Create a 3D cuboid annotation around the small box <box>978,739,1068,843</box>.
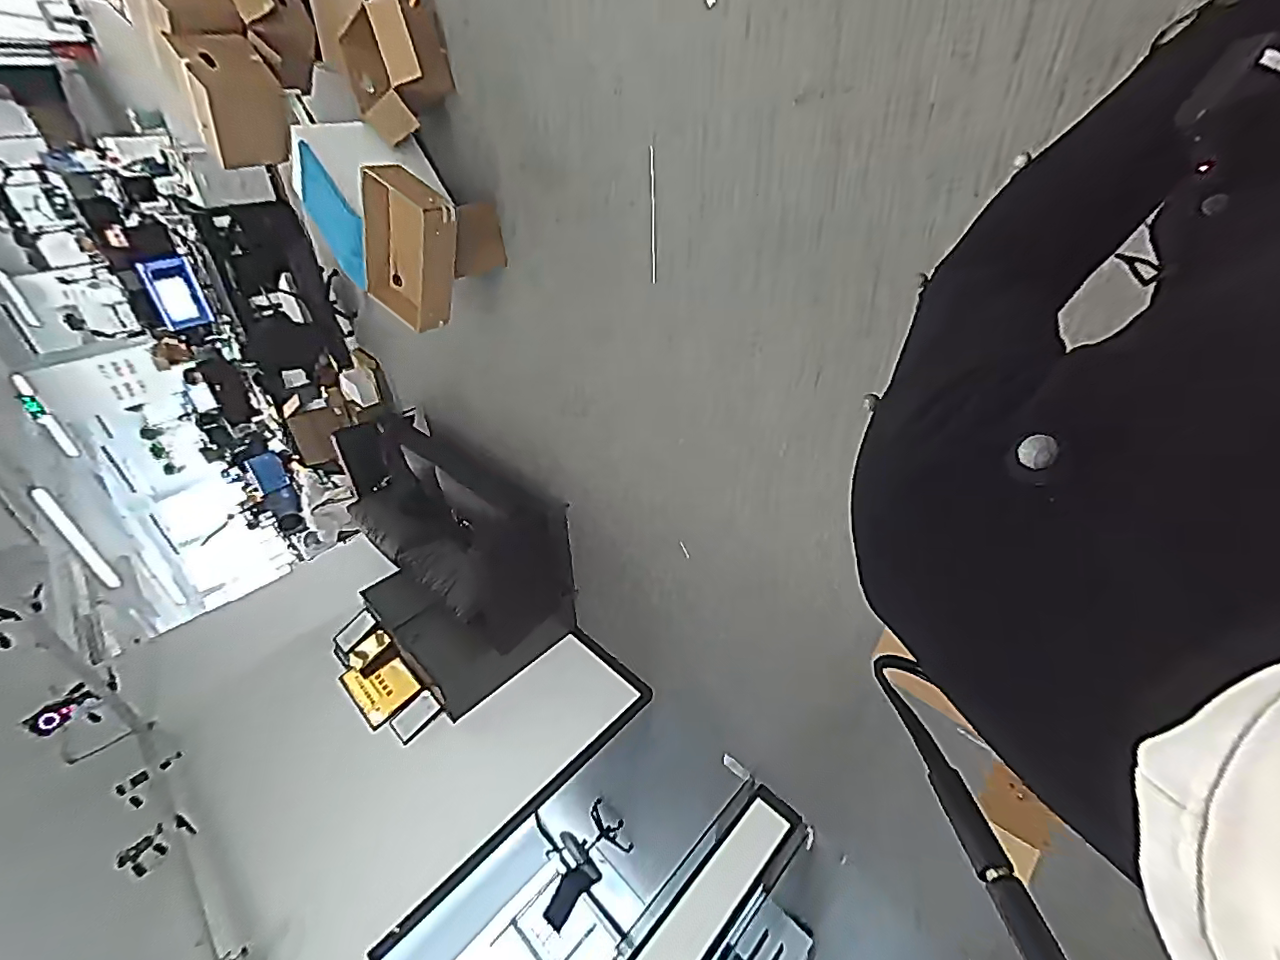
[{"bbox_3d":[1.154,0.926,1.626,0.168,0.176,0.179,24,133,40],"label":"small box"}]
